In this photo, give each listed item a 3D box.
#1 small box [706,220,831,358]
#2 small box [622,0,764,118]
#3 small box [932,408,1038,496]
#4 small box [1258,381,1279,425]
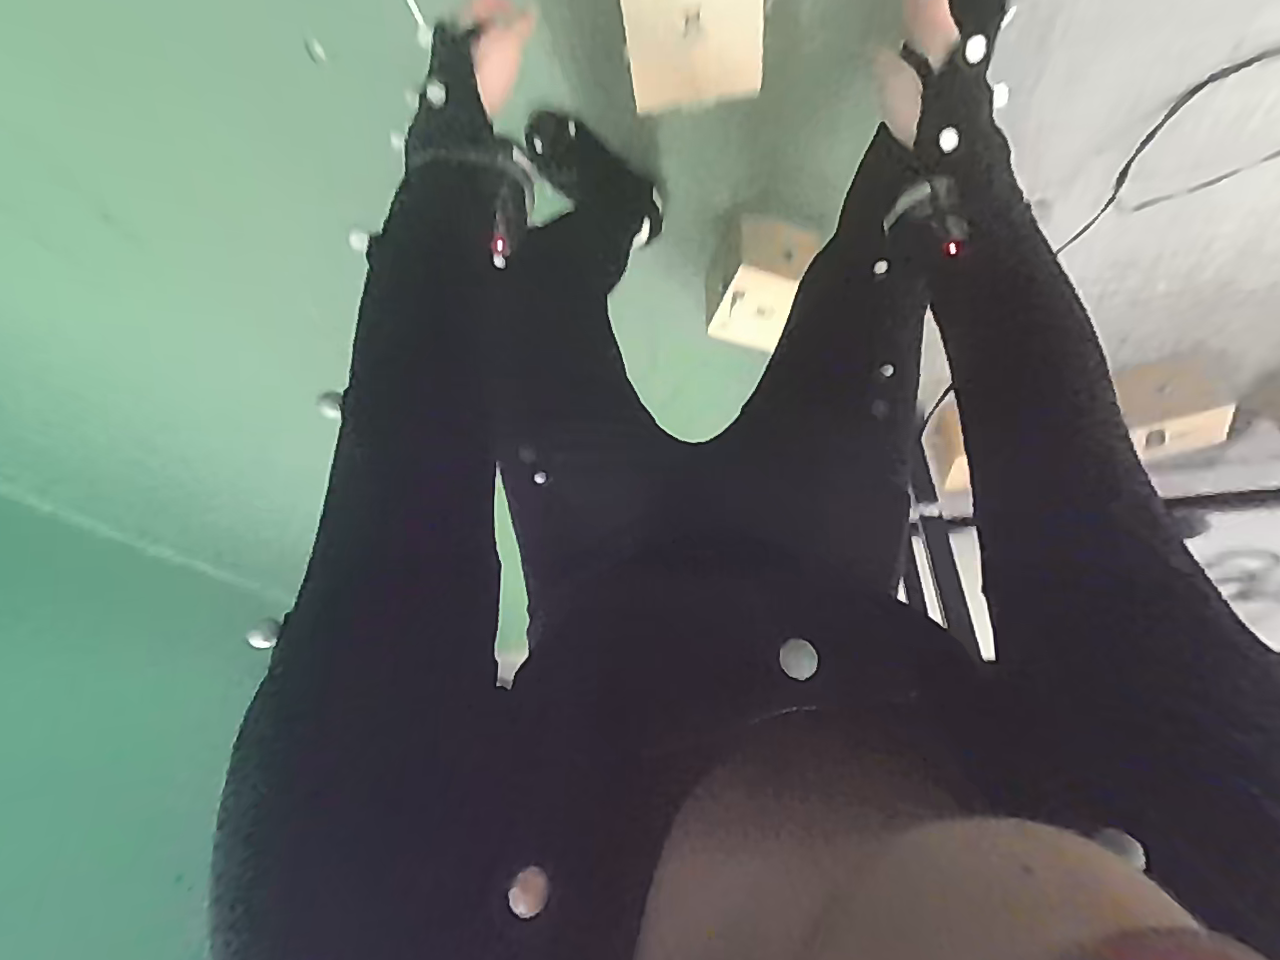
[{"bbox_3d":[0.238,-0.368,1.043,0.179,0.176,0.168,10,147,-12],"label":"small box"},{"bbox_3d":[0.068,-0.605,0.688,0.168,0.176,0.179,-4,145,9],"label":"small box"},{"bbox_3d":[0.906,-0.076,1.439,0.179,0.176,0.168,-4,146,13],"label":"small box"},{"bbox_3d":[1.607,-0.172,1.234,0.168,0.176,0.179,10,147,-11],"label":"small box"}]
